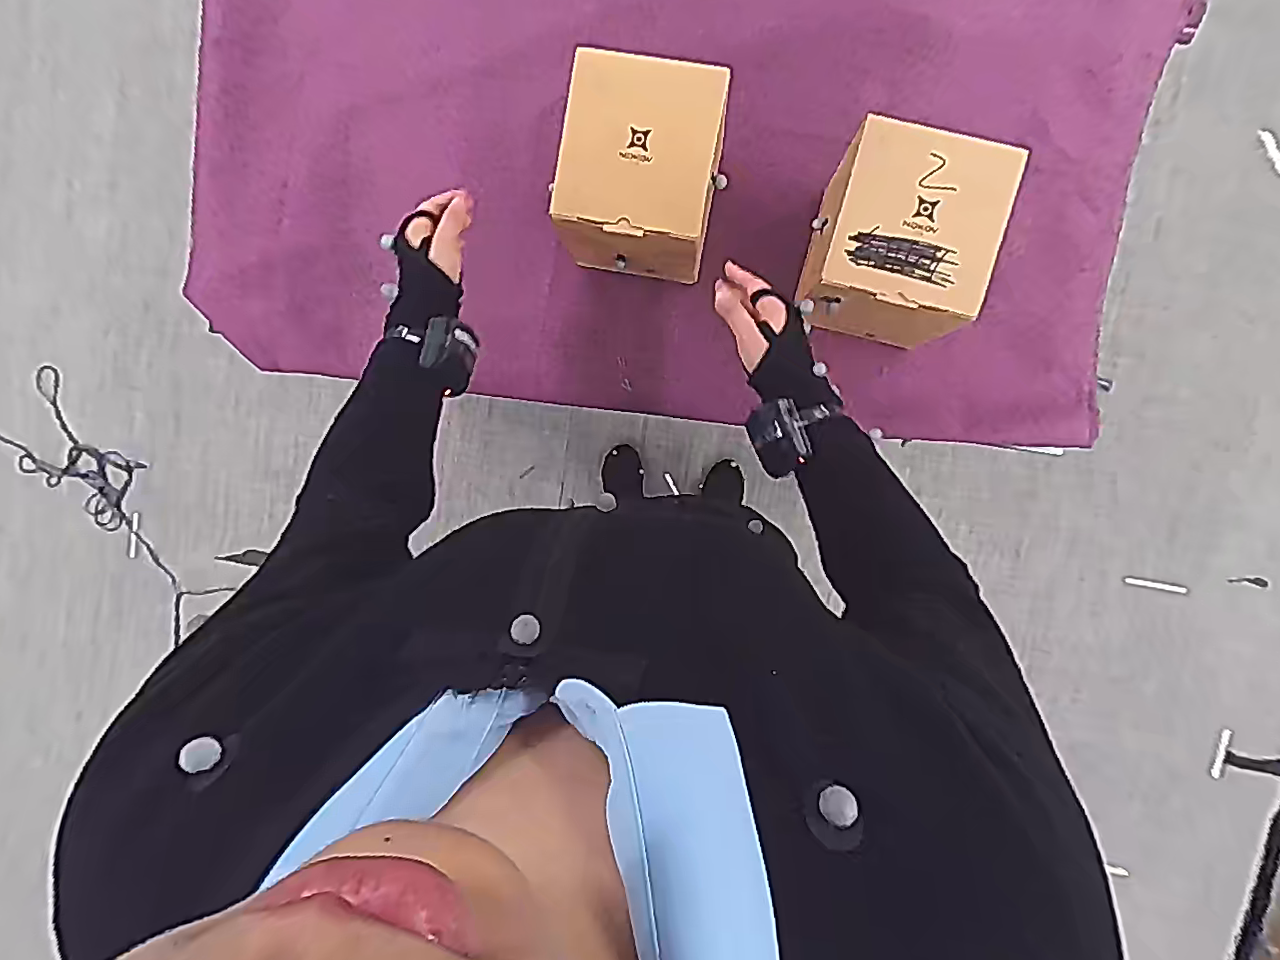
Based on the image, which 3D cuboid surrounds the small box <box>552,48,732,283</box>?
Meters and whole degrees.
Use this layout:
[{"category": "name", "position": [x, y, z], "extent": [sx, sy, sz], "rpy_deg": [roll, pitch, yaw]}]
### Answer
[{"category": "small box", "position": [0.004, -0.359, 0.649], "extent": [0.168, 0.176, 0.179], "rpy_deg": [11, 96, 3]}]
